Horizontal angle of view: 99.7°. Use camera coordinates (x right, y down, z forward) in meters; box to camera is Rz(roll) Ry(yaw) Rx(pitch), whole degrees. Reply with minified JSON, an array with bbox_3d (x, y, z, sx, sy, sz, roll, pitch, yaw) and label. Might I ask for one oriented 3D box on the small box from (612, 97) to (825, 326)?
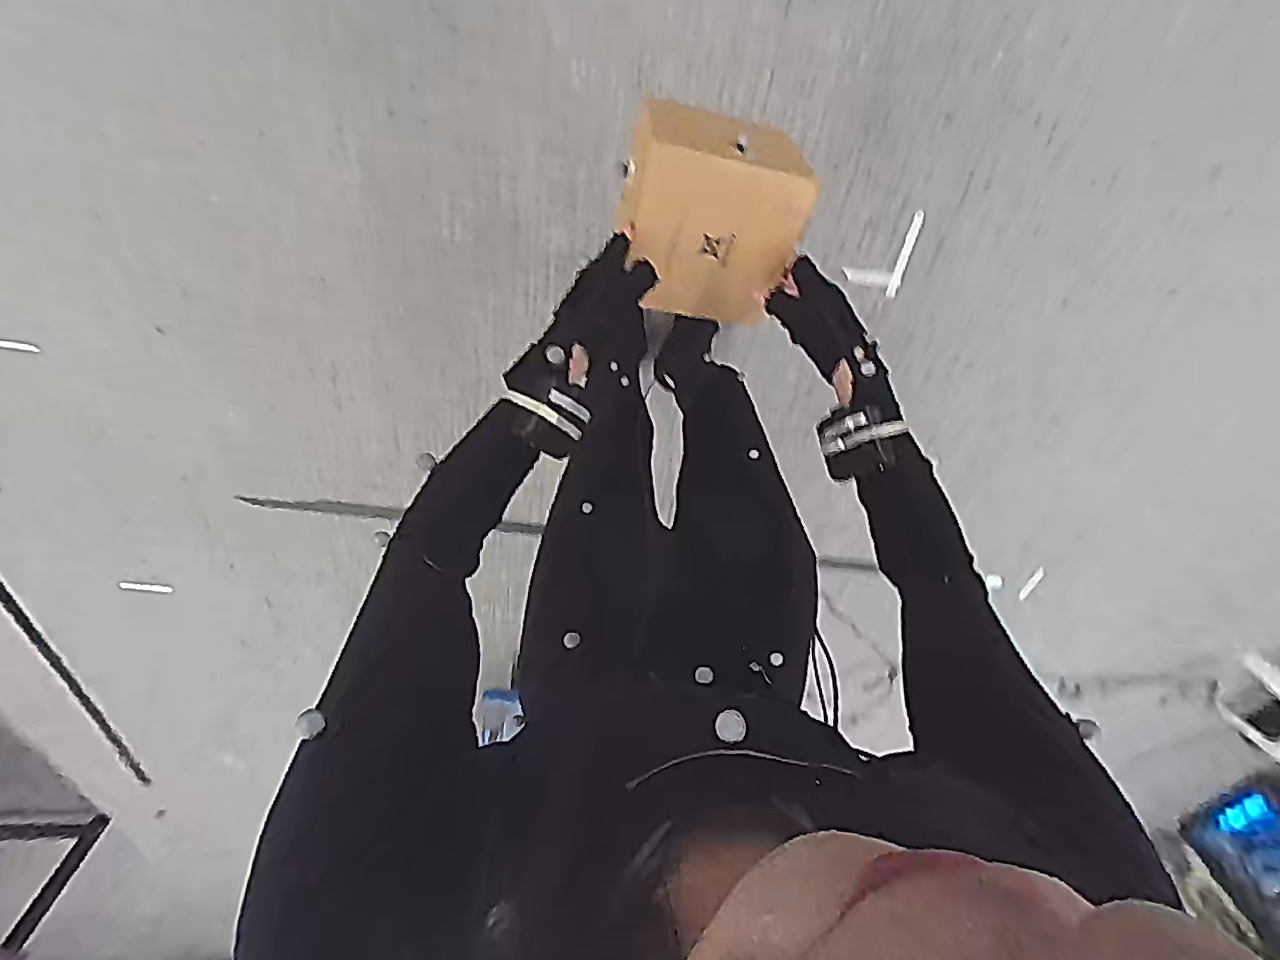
[{"bbox_3d":[0.071,-0.301,0.609,0.179,0.176,0.168,6,137,-13],"label":"small box"}]
